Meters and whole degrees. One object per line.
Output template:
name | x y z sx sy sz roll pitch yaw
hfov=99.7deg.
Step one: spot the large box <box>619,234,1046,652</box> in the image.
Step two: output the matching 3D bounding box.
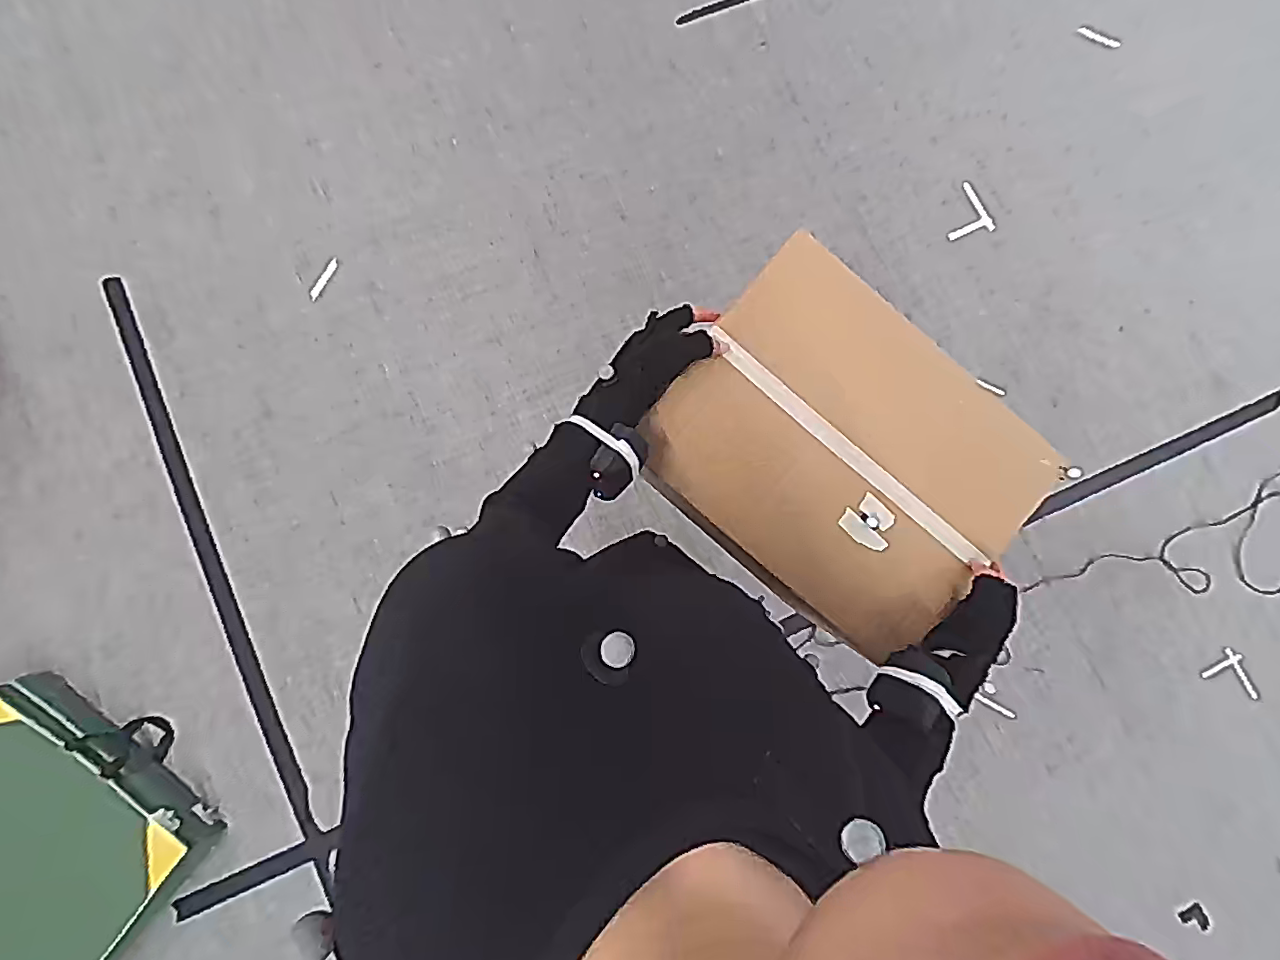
large box | 0.216 -0.042 0.762 0.408 0.320 0.320 41 89 -2
